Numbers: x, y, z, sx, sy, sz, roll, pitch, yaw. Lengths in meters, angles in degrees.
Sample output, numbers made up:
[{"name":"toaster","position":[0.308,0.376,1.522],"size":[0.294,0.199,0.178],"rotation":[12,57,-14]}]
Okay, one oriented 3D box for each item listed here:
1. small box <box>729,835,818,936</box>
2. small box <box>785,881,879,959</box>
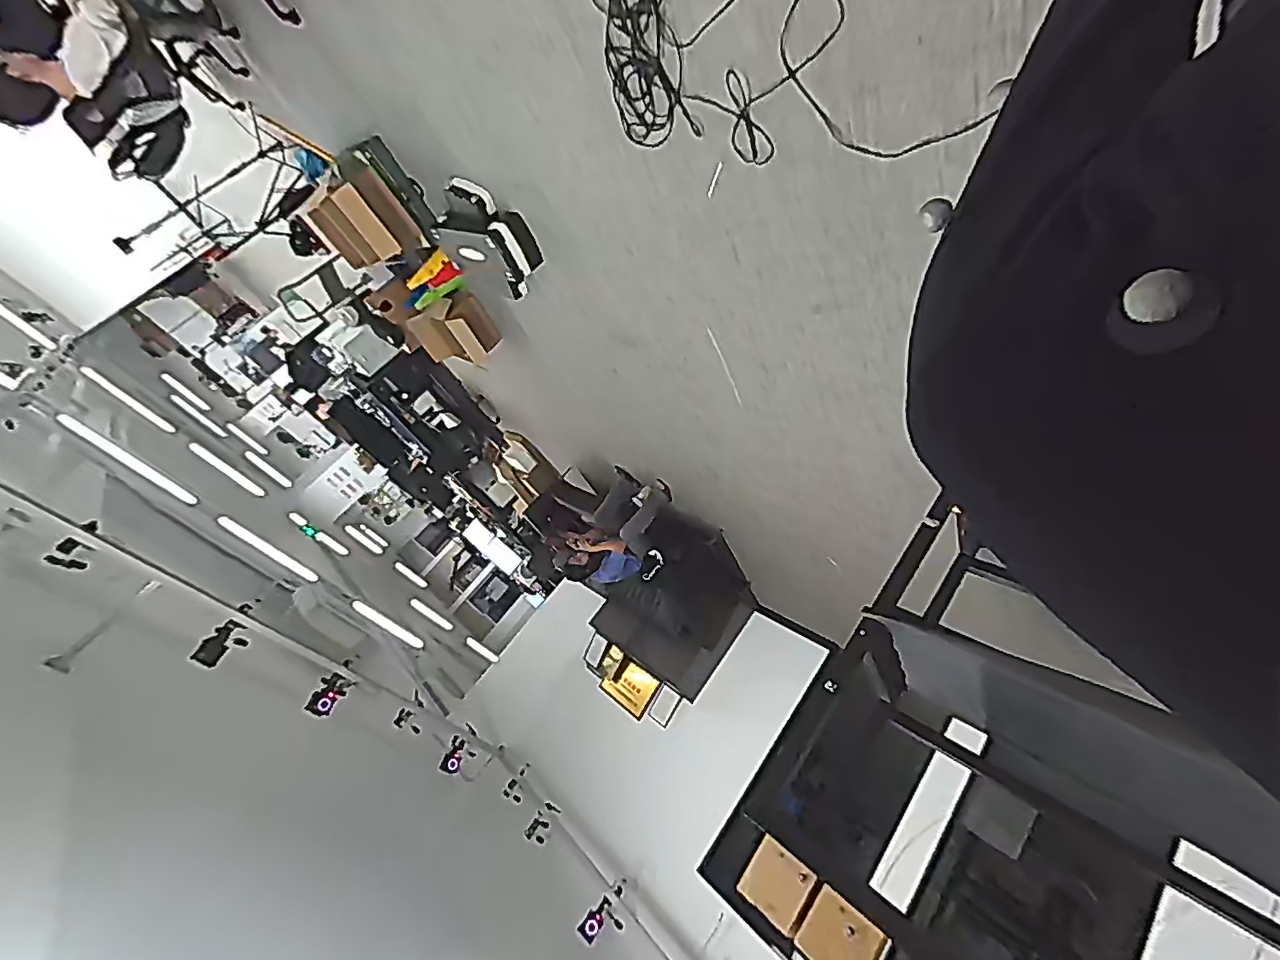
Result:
[{"name":"small box","position":[0.386,1.155,1.548],"size":[0.168,0.176,0.179],"rotation":[23,156,42]},{"name":"small box","position":[0.511,1.203,1.424],"size":[0.168,0.176,0.179],"rotation":[24,155,41]}]
